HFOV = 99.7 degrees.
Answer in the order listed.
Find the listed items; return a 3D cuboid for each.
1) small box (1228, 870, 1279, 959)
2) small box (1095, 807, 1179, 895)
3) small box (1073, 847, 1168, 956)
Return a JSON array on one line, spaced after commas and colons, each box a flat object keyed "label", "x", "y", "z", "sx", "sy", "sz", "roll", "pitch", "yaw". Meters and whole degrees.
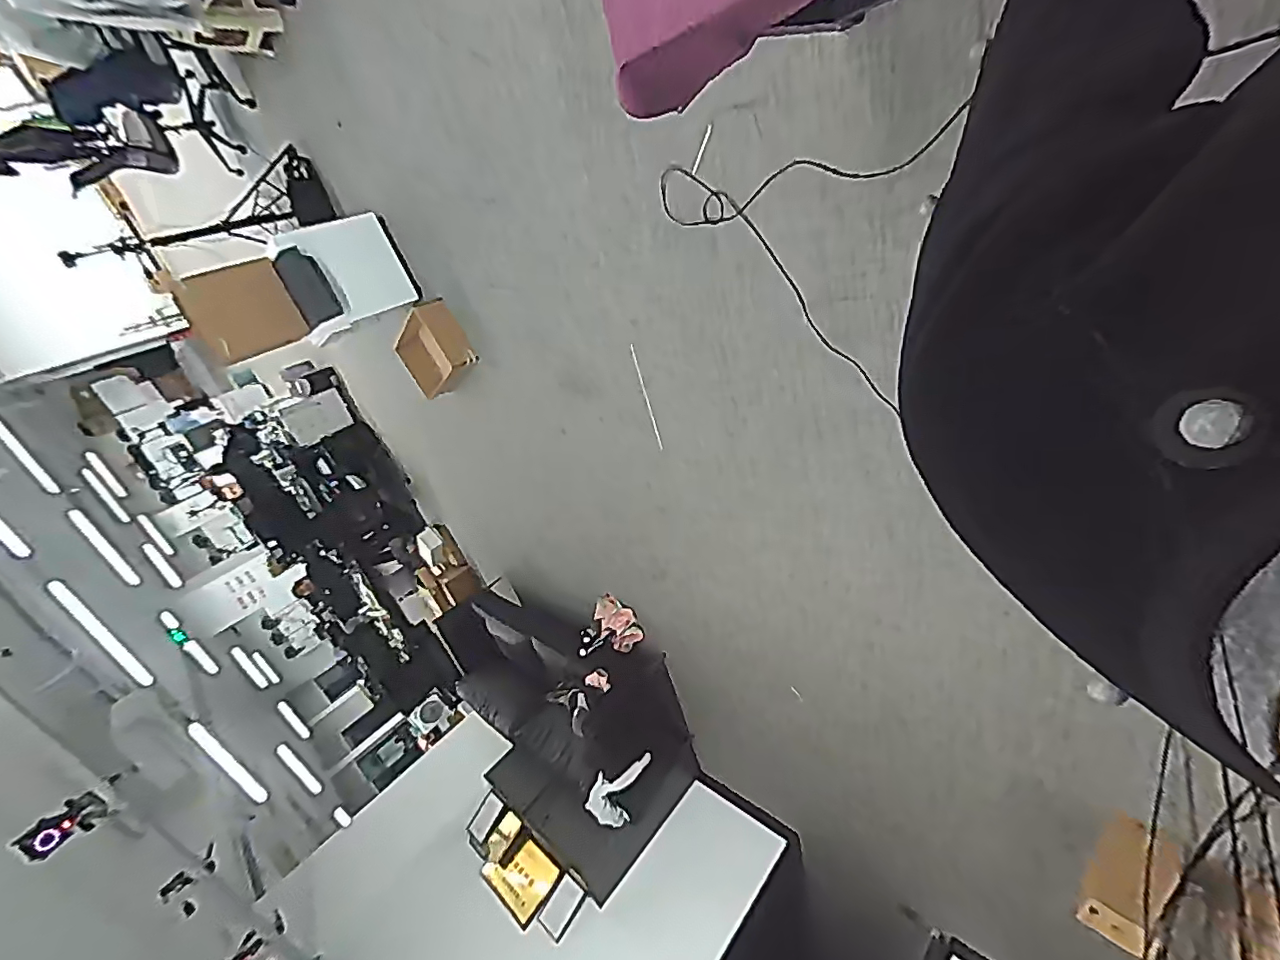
[{"label": "small box", "x": 1.802, "y": 1.250, "z": 1.520, "sx": 0.179, "sy": 0.176, "sz": 0.168, "roll": 10, "pitch": 127, "yaw": 44}, {"label": "small box", "x": 1.587, "y": 1.203, "z": 1.733, "sx": 0.168, "sy": 0.176, "sz": 0.179, "roll": 20, "pitch": 133, "yaw": 38}, {"label": "small box", "x": 1.466, "y": 1.279, "z": 1.649, "sx": 0.179, "sy": 0.176, "sz": 0.168, "roll": 20, "pitch": 133, "yaw": 38}]
